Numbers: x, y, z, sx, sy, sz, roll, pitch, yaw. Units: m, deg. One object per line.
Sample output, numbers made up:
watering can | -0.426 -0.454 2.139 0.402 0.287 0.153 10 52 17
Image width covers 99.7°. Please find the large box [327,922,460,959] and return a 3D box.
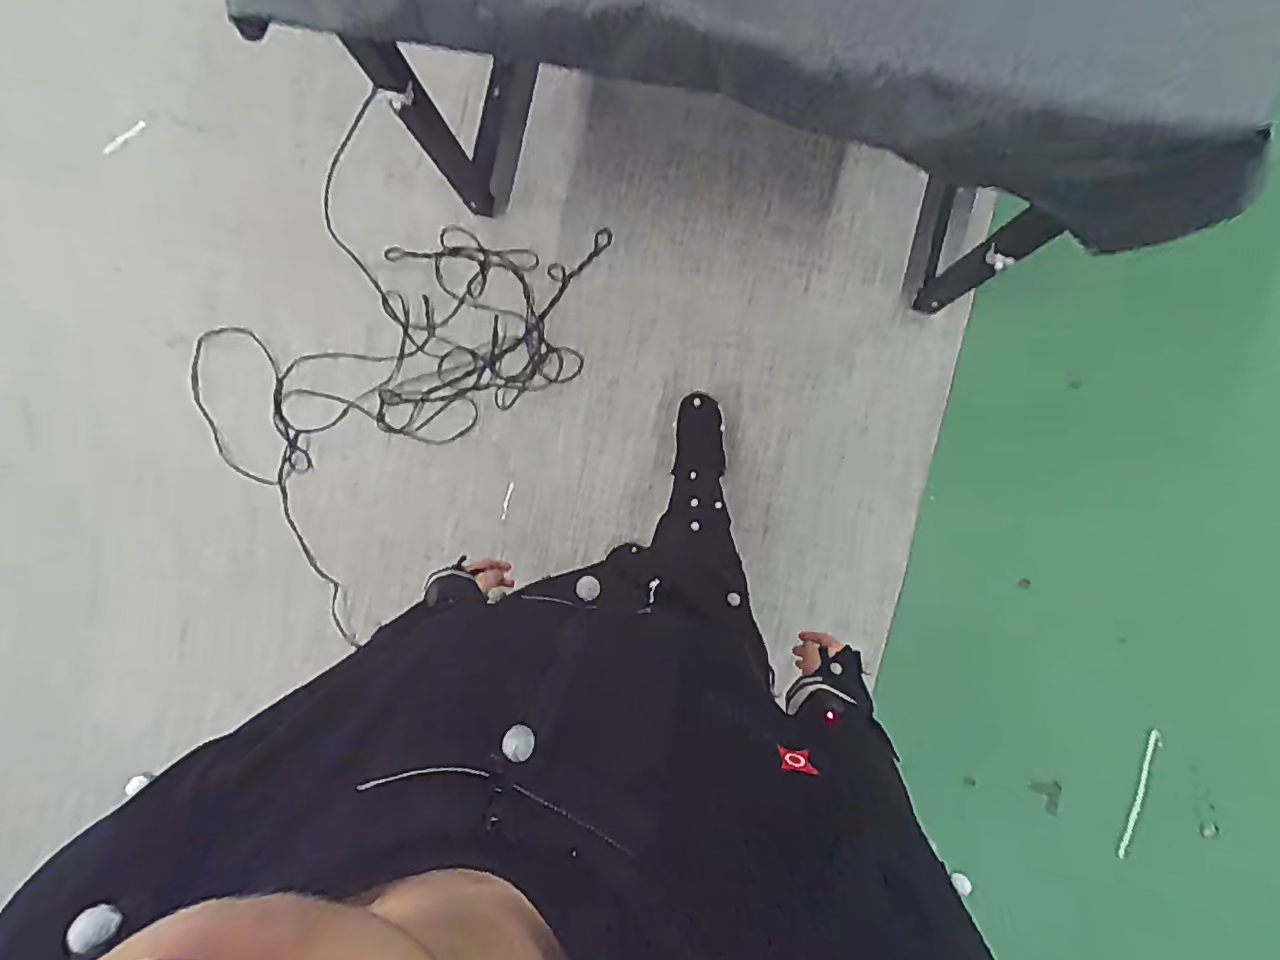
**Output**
large box | -0.606 1.346 1.250 0.408 0.320 0.320 18 91 4
